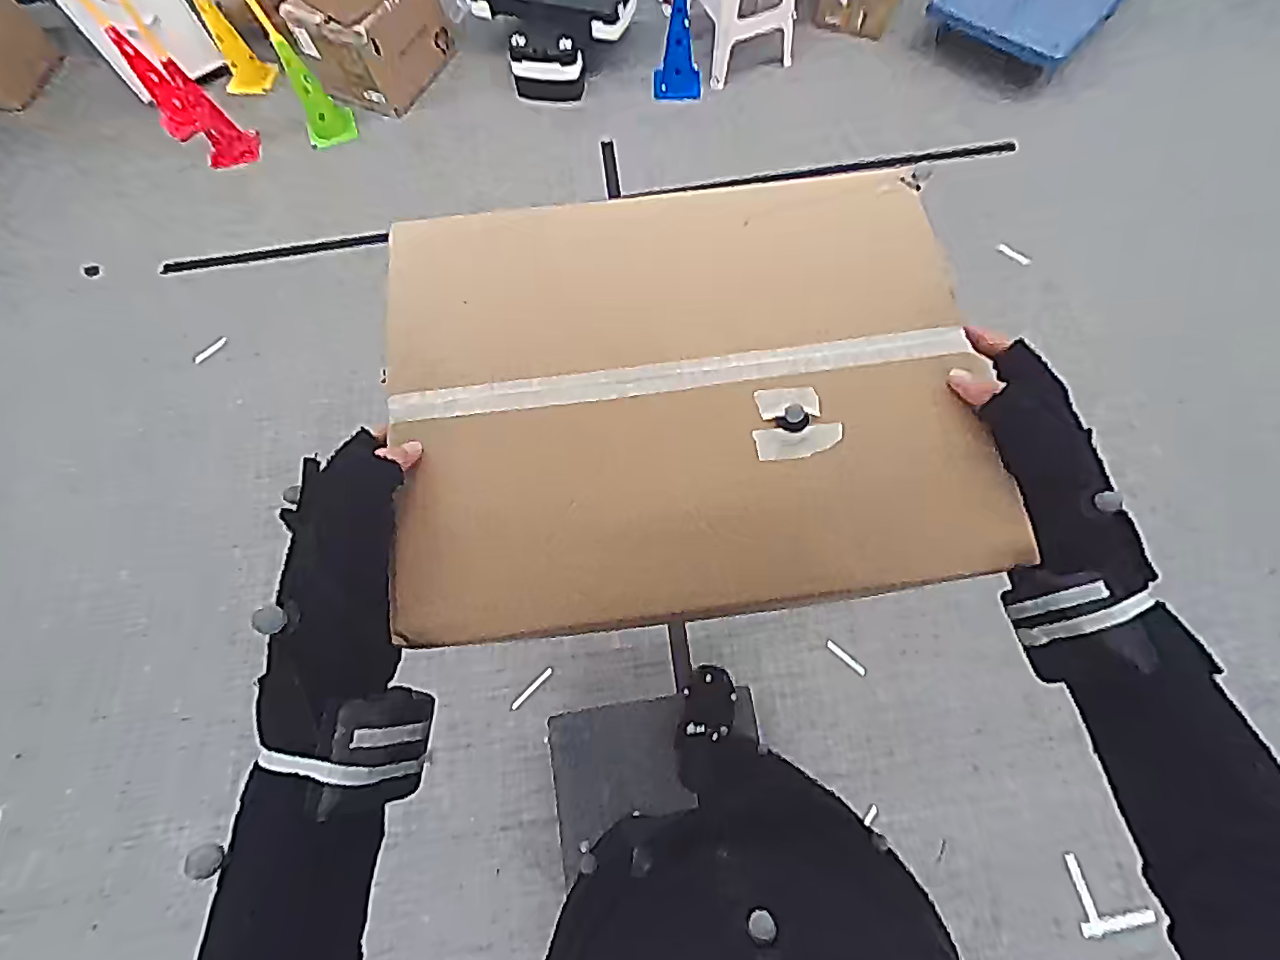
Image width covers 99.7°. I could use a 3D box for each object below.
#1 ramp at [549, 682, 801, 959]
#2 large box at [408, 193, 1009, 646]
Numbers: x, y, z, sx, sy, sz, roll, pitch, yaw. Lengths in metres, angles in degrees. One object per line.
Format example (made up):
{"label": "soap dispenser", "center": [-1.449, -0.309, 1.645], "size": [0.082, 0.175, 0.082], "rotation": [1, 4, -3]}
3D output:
{"label": "ramp", "center": [0.100, 1.002, 1.206], "size": [0.509, 0.206, 0.991], "rotation": [-10, 69, -3]}
{"label": "large box", "center": [0.030, -0.023, 0.537], "size": [0.408, 0.320, 0.320], "rotation": [-7, 74, -2]}
